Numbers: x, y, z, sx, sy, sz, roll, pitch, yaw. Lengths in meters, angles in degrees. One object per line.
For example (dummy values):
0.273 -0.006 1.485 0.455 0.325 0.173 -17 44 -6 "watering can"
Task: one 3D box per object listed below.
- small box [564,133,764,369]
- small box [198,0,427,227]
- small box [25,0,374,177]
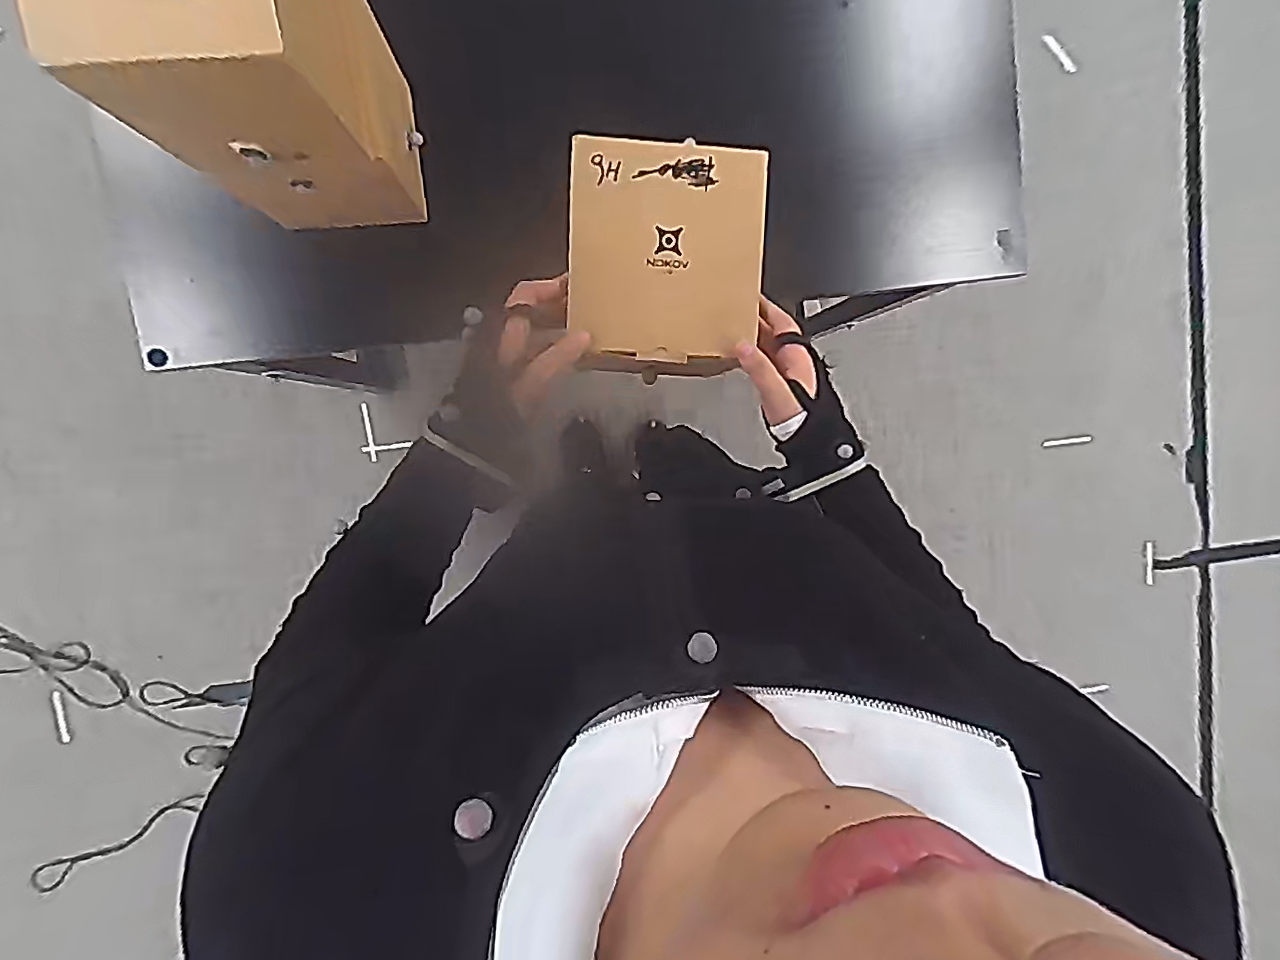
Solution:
0.014 -0.206 0.538 0.168 0.176 0.179 1 97 -5 "small box"
-0.360 -0.399 0.606 0.179 0.176 0.168 -7 96 -6 "small box"
-0.345 -0.383 0.446 0.168 0.176 0.179 -7 97 -4 "small box"
